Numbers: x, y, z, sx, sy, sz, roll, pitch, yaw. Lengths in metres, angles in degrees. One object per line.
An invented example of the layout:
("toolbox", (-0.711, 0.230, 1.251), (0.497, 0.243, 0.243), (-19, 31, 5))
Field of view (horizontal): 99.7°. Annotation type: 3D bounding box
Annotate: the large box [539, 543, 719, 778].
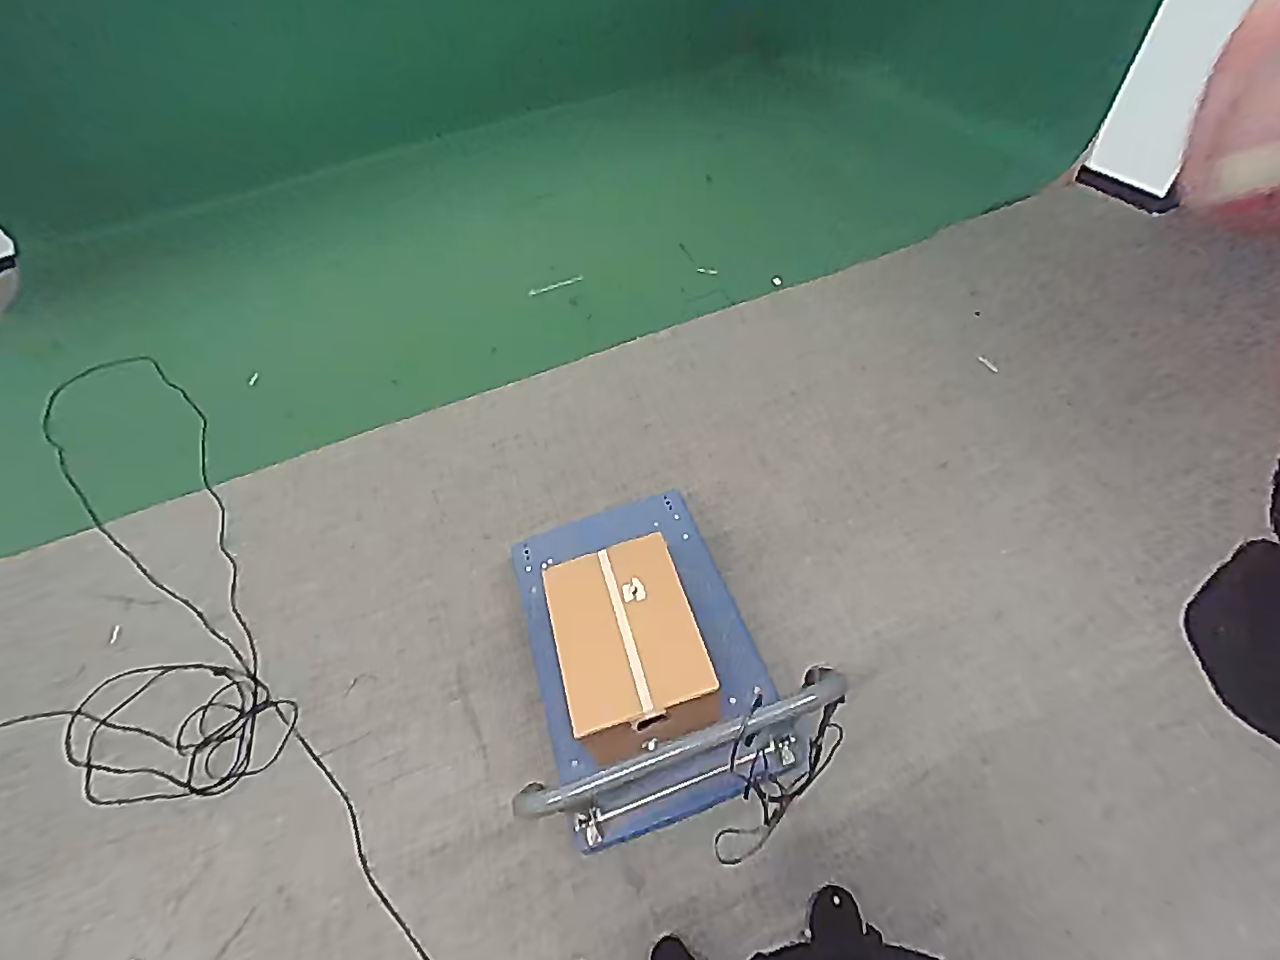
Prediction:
("large box", (-0.025, 0.434, 1.313), (0.320, 0.320, 0.408), (-17, 51, -6))
